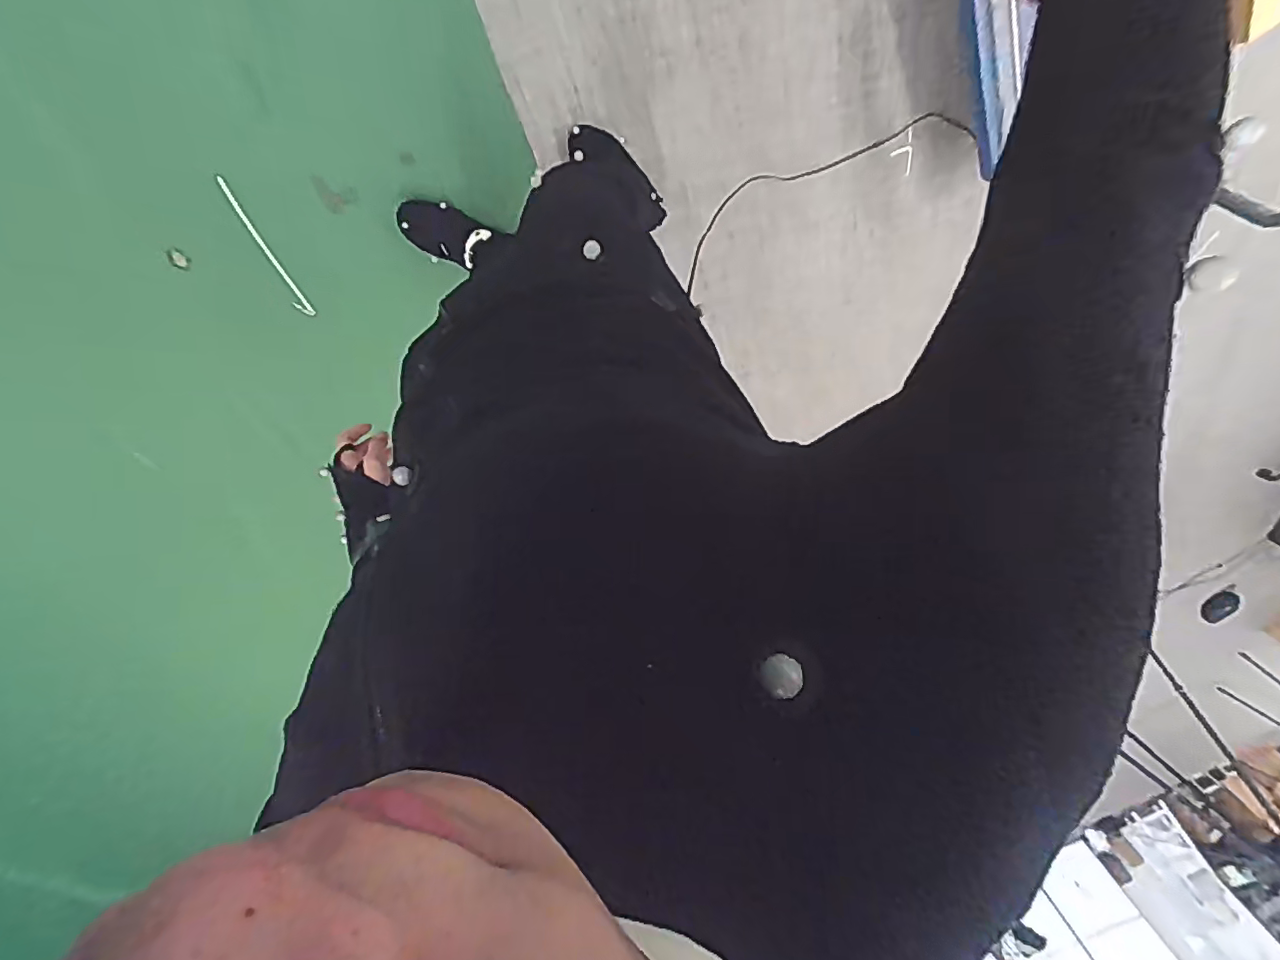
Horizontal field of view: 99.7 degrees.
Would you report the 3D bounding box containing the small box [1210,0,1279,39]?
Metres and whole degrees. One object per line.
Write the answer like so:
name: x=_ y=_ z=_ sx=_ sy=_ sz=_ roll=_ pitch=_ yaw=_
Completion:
small box: x=1.362 y=-1.126 z=1.201 sx=0.179 sy=0.176 sz=0.168 roll=-34 pitch=127 yaw=10
